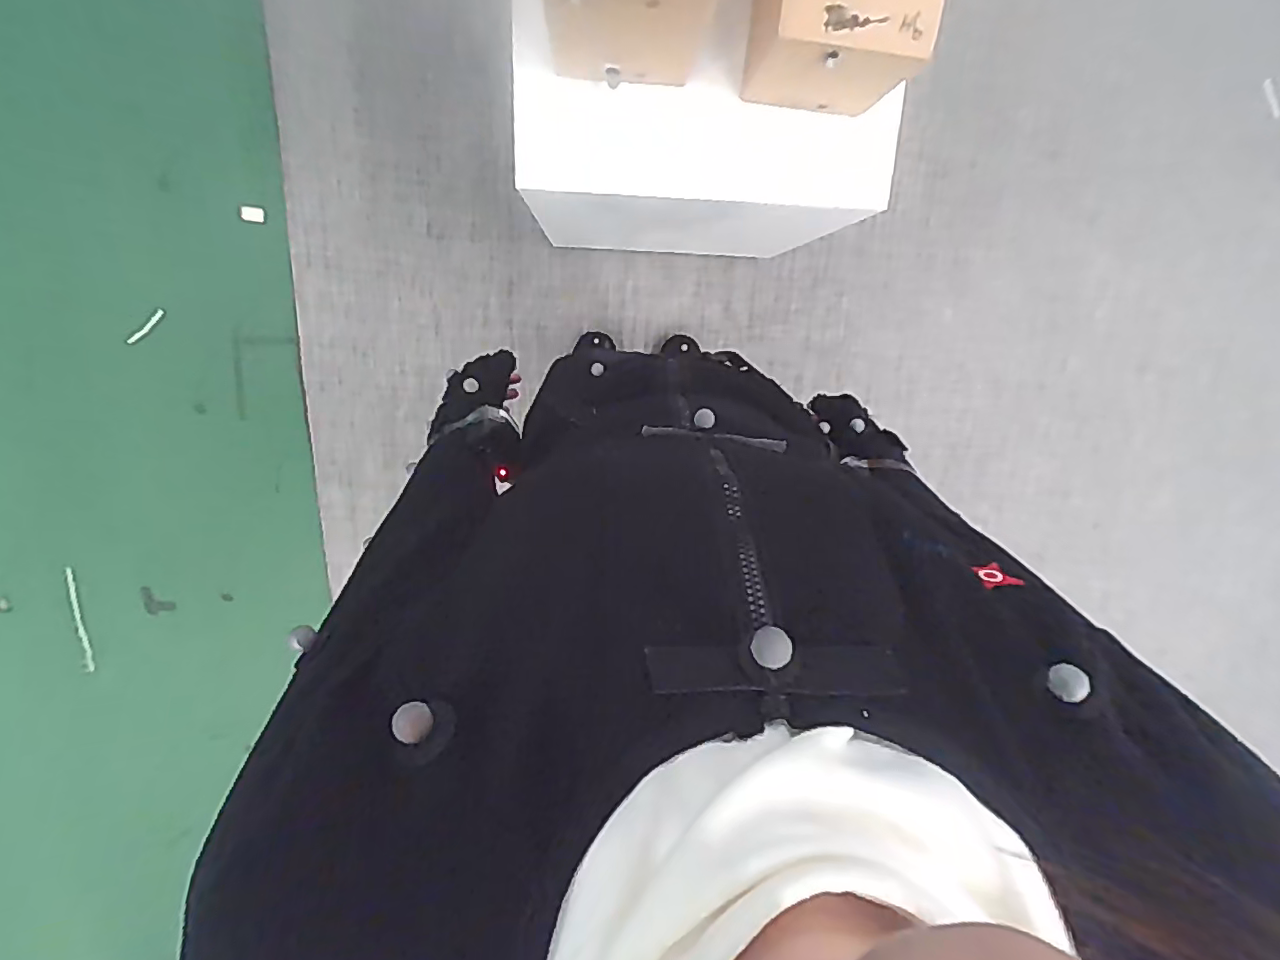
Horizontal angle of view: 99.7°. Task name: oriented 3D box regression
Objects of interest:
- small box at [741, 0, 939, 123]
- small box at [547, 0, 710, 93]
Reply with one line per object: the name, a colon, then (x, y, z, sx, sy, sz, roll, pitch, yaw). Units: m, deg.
small box: (0.221, -0.542, 0.611, 0.168, 0.176, 0.179, 5, 105, -5)
small box: (-0.014, -0.563, 0.594, 0.168, 0.176, 0.179, 0, 107, -3)
